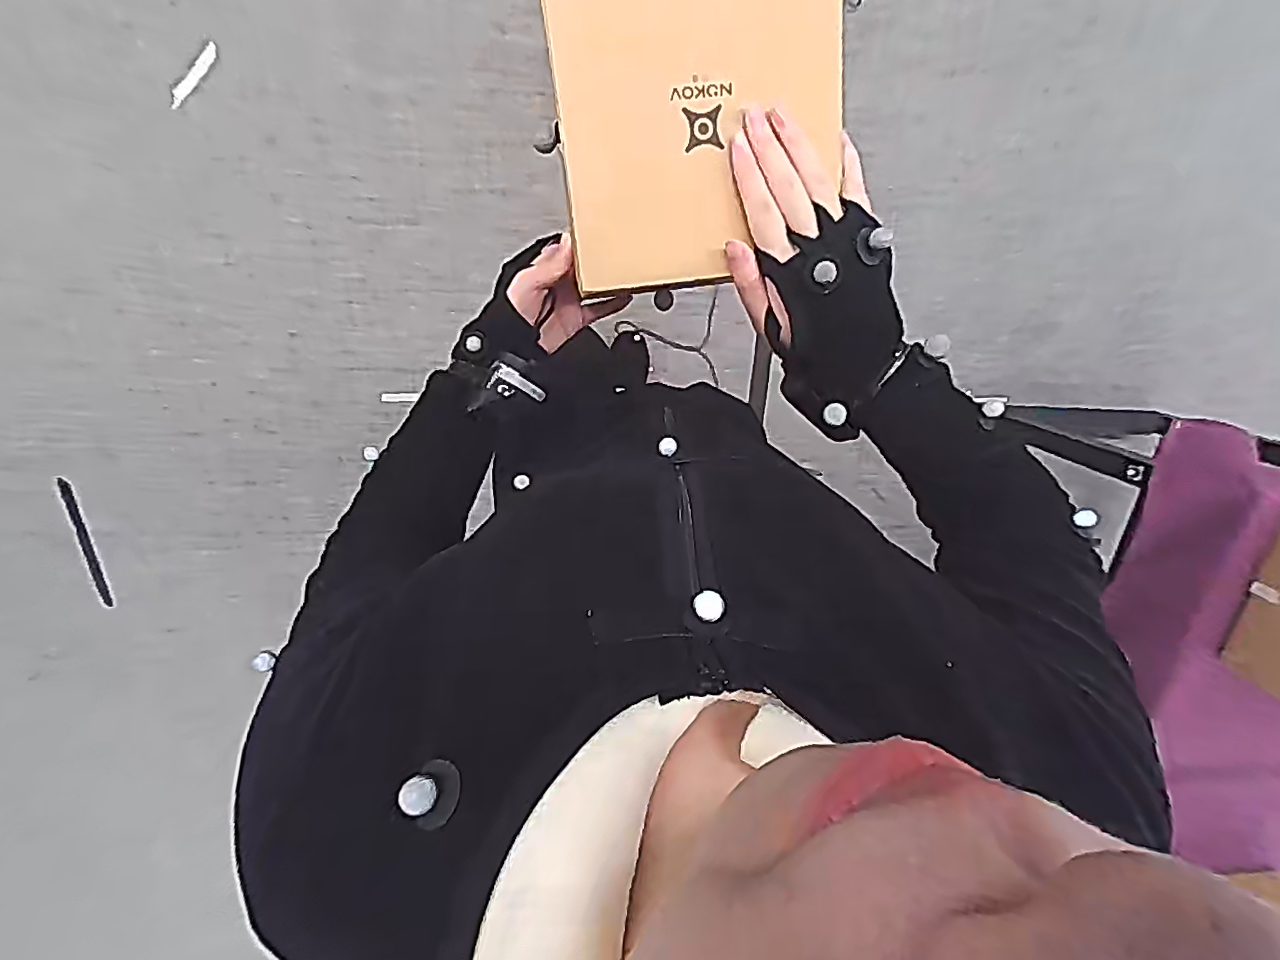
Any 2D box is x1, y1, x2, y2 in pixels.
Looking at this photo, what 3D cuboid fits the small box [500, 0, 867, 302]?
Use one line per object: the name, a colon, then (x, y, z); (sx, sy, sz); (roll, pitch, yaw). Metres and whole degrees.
small box: (0.035, -0.235, 0.344); (0.179, 0.176, 0.168); (-8, 89, 15)
